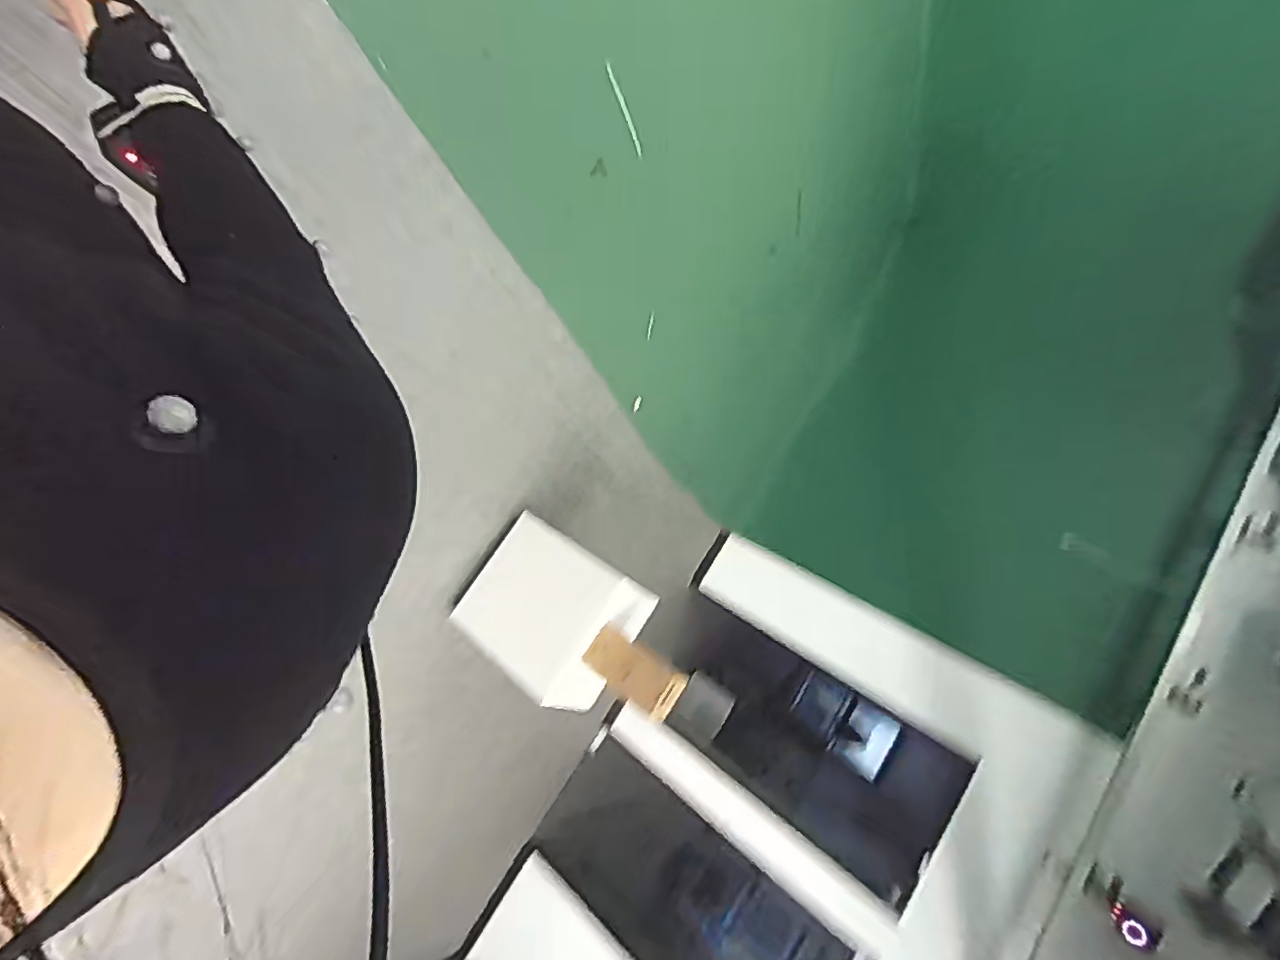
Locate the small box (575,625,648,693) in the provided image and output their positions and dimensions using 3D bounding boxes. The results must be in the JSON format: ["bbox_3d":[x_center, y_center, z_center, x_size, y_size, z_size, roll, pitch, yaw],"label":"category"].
[{"bbox_3d":[-0.104,0.656,1.984,0.168,0.176,0.179,-56,150,-10],"label":"small box"}]
